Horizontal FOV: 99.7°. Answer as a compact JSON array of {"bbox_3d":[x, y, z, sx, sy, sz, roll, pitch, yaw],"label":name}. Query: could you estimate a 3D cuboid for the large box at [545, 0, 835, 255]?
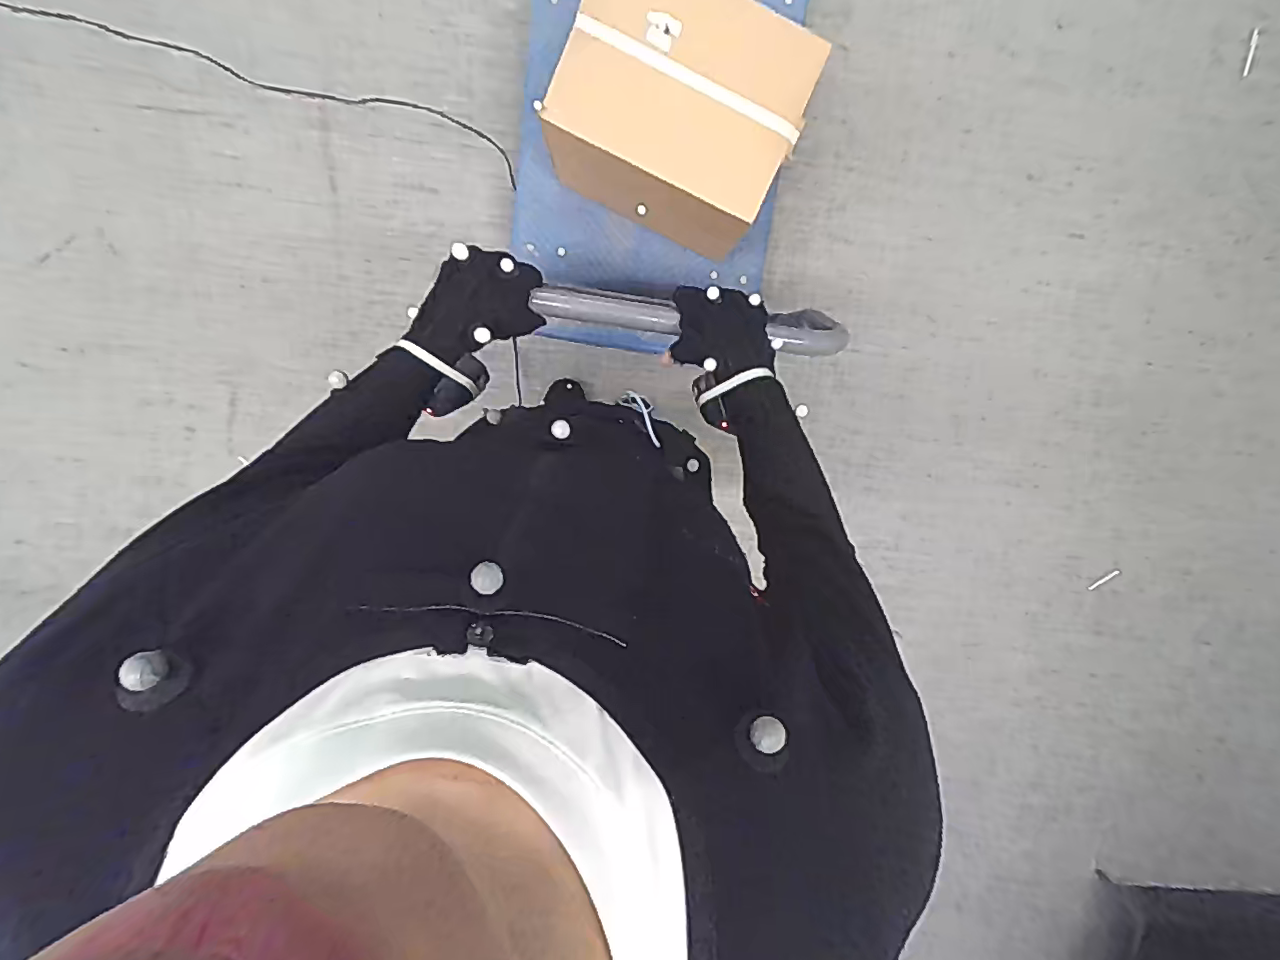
[{"bbox_3d":[0.081,-0.690,1.041,0.408,0.320,0.320,24,98,-5],"label":"large box"}]
